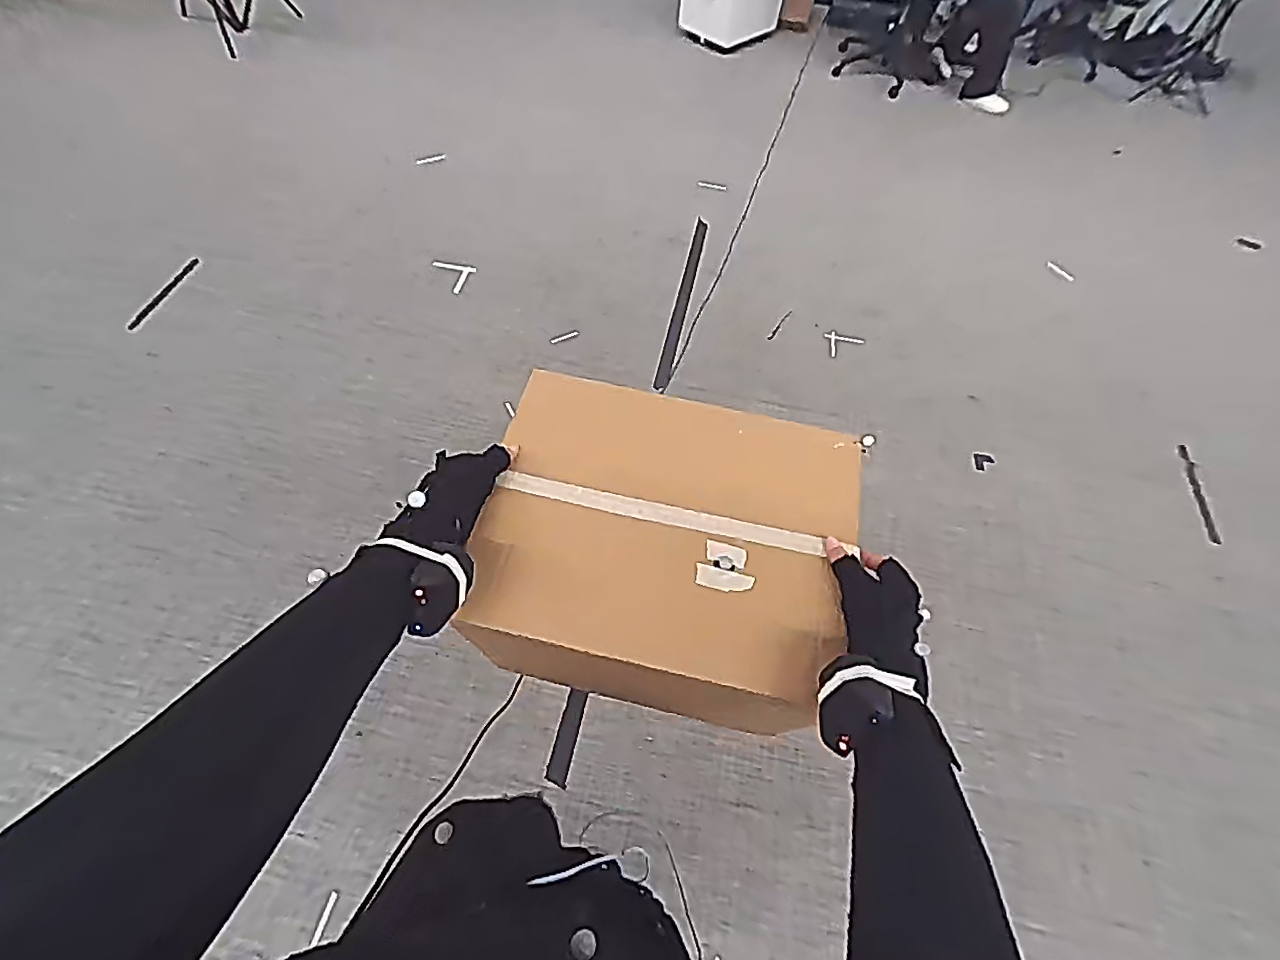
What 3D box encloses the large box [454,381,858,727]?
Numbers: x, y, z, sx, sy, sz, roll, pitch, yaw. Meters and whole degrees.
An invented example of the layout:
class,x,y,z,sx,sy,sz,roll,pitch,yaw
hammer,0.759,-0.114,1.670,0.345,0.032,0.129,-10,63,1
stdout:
class,x,y,z,sx,sy,sz,roll,pitch,yaw
large box,0.030,0.114,0.724,0.408,0.320,0.320,13,63,4
